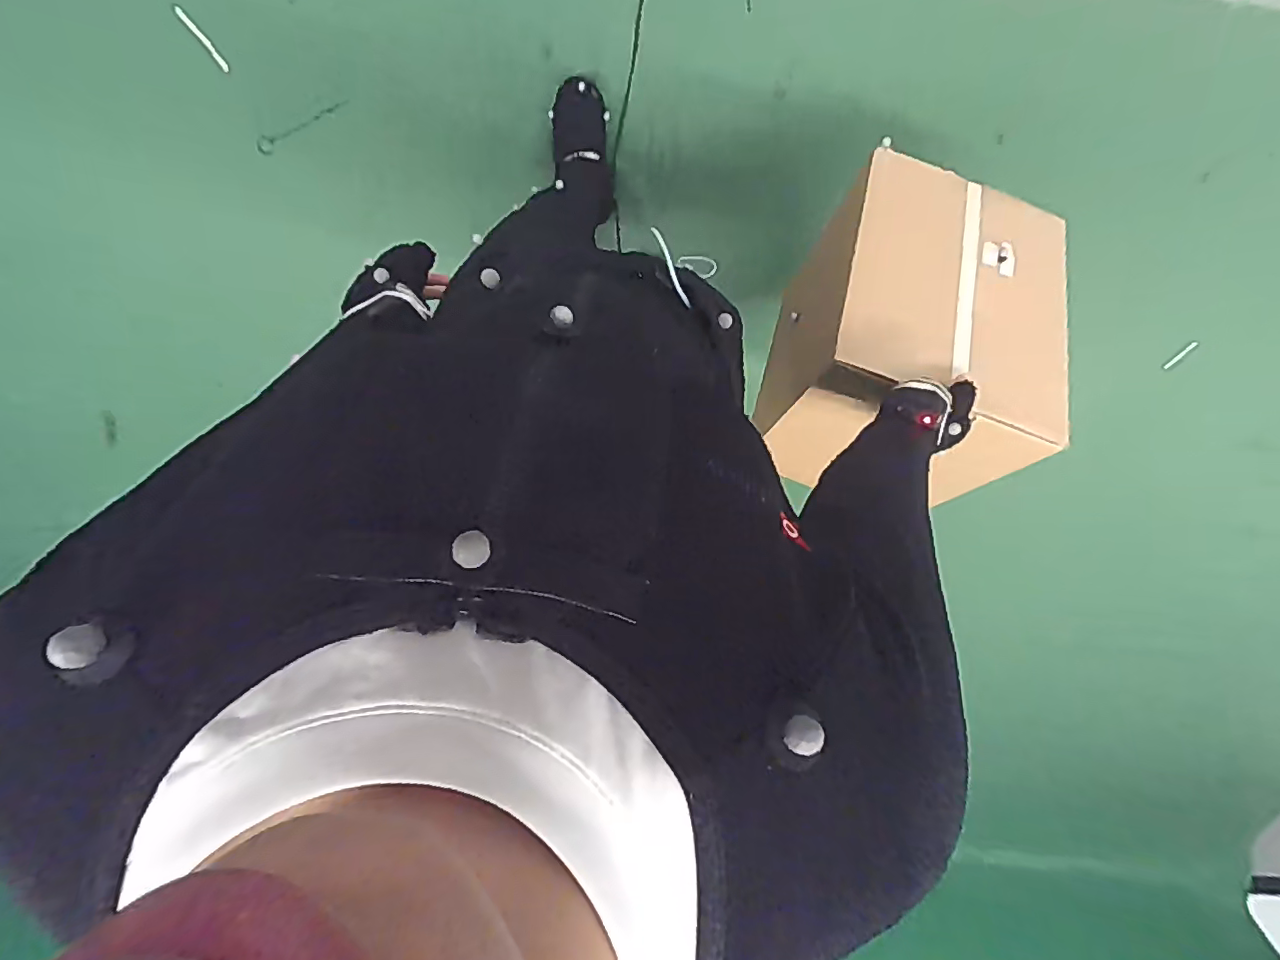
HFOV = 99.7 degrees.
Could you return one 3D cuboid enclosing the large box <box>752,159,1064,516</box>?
[{"bbox_3d":[0.409,-0.205,0.873,0.320,0.408,0.320,20,156,-4],"label":"large box"}]
